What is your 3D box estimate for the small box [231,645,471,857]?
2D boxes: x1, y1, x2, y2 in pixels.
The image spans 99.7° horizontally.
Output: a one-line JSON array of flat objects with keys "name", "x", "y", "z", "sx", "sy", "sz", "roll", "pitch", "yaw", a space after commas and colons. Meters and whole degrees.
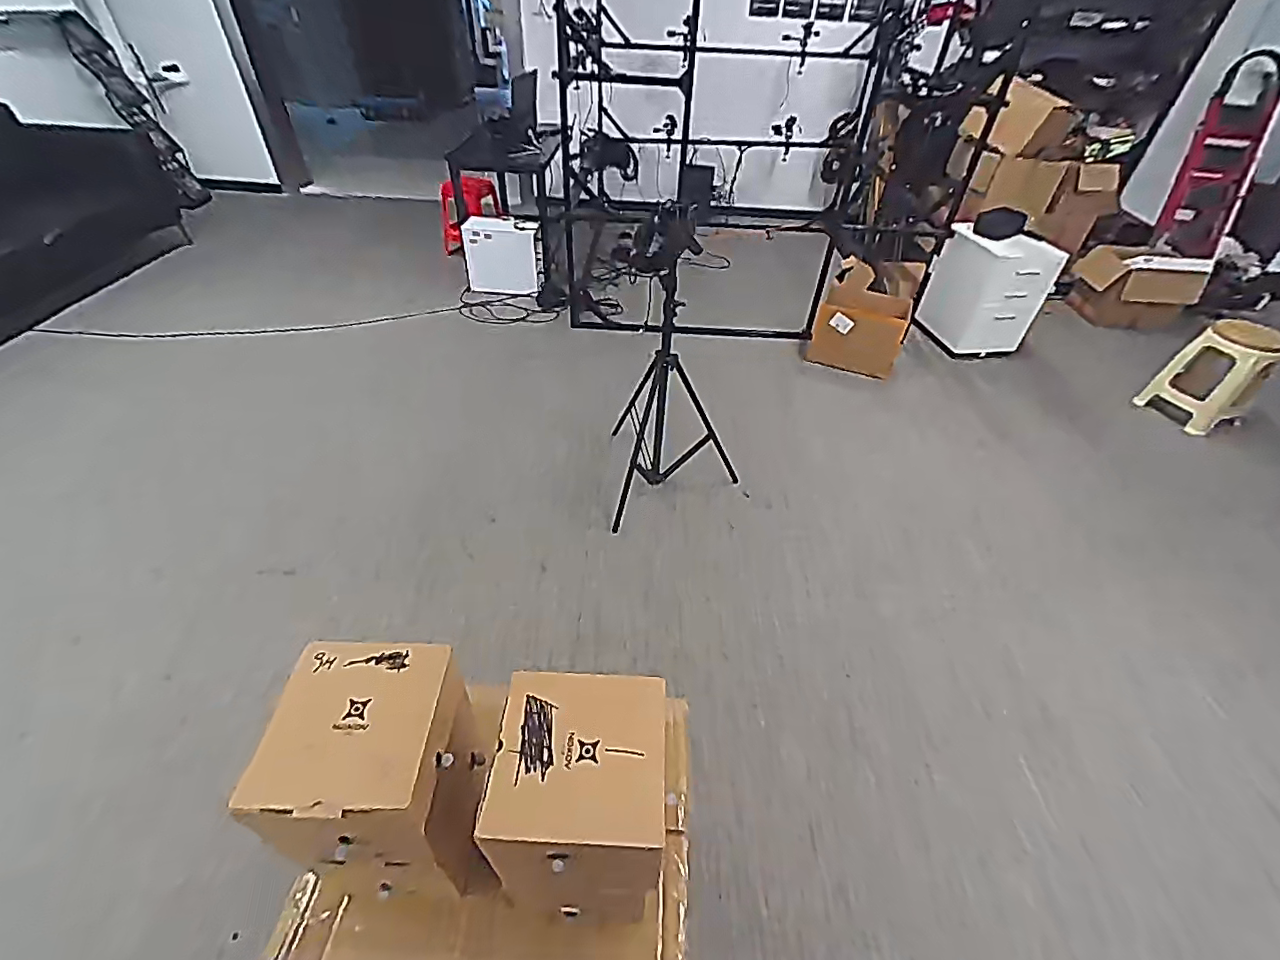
[{"name": "small box", "x": -0.301, "y": 0.310, "z": 0.615, "sx": 0.168, "sy": 0.176, "sz": 0.179, "roll": 2, "pitch": 42, "yaw": -3}]

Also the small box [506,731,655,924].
[{"name": "small box", "x": -0.067, "y": 0.458, "z": 0.715, "sx": 0.168, "sy": 0.176, "sz": 0.179, "roll": 1, "pitch": 43, "yaw": 1}]

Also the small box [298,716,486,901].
[{"name": "small box", "x": -0.310, "y": 0.433, "z": 0.723, "sx": 0.168, "sy": 0.176, "sz": 0.179, "roll": 3, "pitch": 42, "yaw": -2}]
